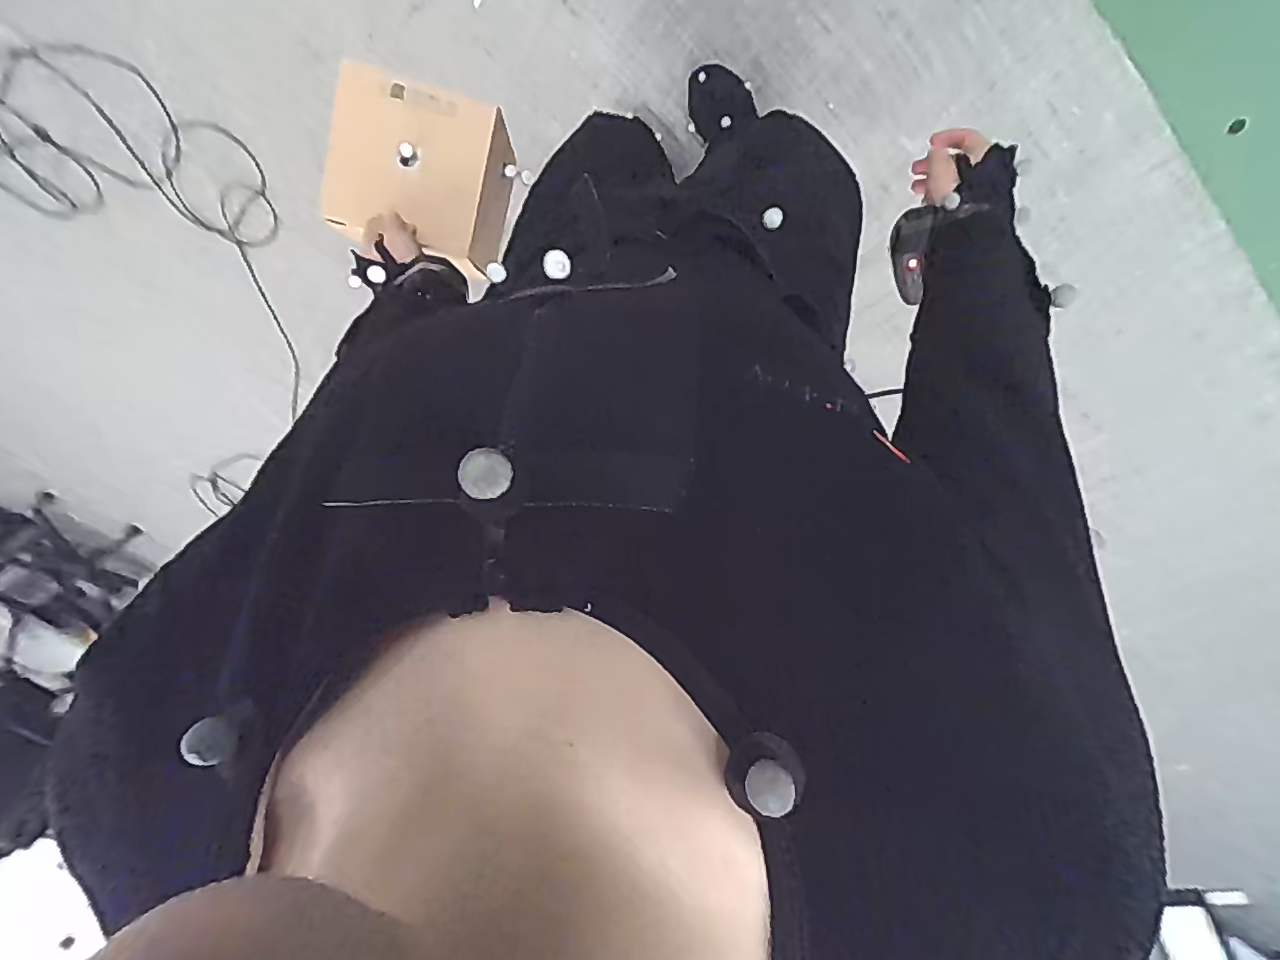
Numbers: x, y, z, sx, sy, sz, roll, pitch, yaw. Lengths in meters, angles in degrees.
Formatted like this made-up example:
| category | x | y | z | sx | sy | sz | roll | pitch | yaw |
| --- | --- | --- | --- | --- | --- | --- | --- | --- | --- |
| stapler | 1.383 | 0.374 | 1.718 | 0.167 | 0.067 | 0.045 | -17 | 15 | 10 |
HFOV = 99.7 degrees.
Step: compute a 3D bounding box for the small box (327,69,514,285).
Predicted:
| category | x | y | z | sx | sy | sz | roll | pitch | yaw |
| --- | --- | --- | --- | --- | --- | --- | --- | --- | --- |
| small box | -0.261 | -0.364 | 0.676 | 0.168 | 0.179 | 0.176 | 13 | 99 | -9 |
